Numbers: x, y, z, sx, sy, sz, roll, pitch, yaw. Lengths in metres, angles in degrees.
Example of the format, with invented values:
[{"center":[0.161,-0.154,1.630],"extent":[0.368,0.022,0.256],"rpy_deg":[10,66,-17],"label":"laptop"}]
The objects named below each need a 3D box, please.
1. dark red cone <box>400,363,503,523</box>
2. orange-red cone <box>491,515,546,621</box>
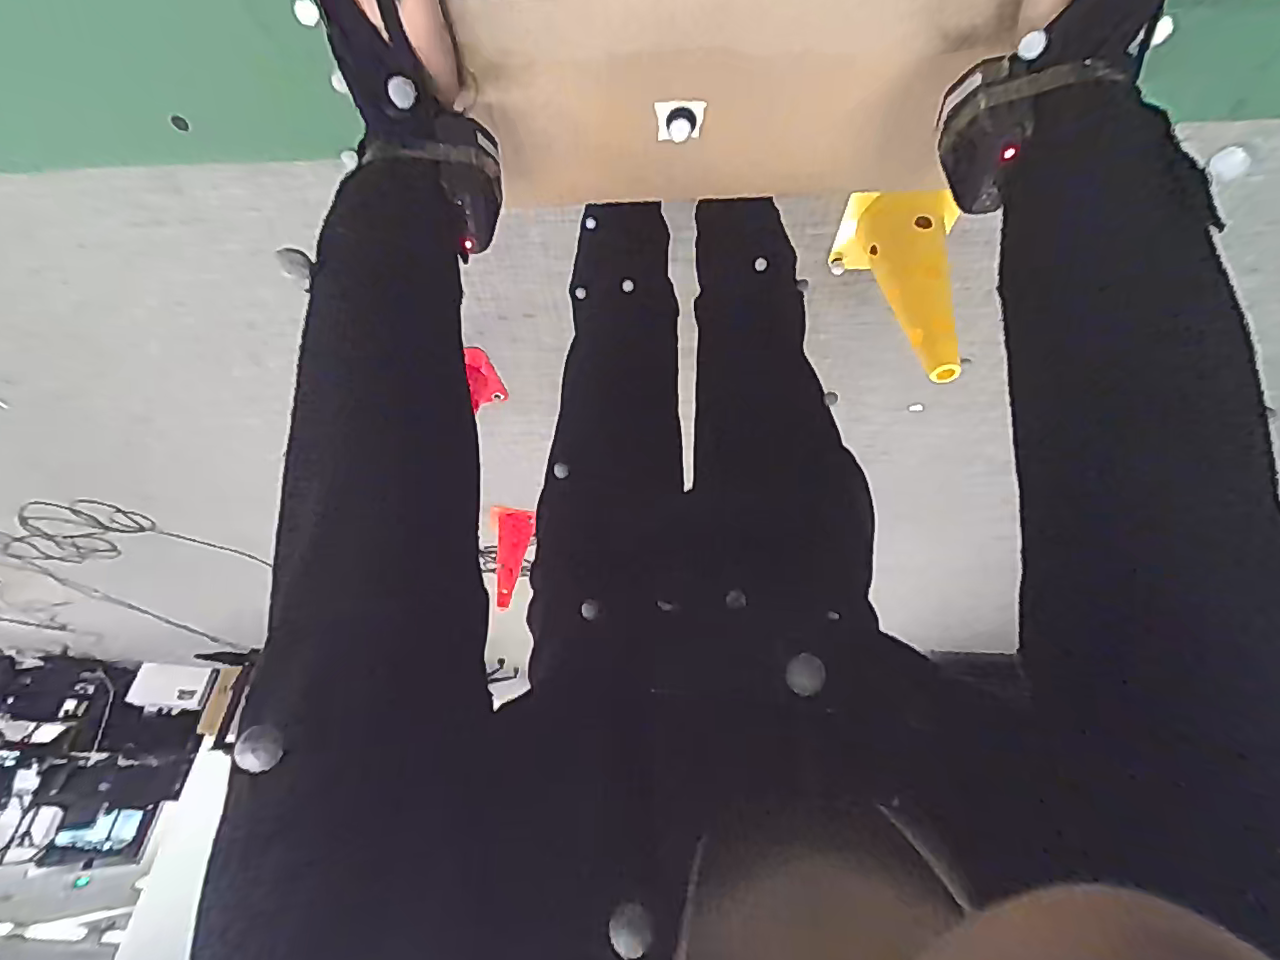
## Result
[{"center":[-0.471,-0.078,1.251],"extent":[0.202,0.394,0.201],"rpy_deg":[-3,145,11],"label":"dark red cone"},{"center":[-0.478,0.335,1.978],"extent":[0.199,0.360,0.198],"rpy_deg":[12,147,-12],"label":"orange-red cone"}]
